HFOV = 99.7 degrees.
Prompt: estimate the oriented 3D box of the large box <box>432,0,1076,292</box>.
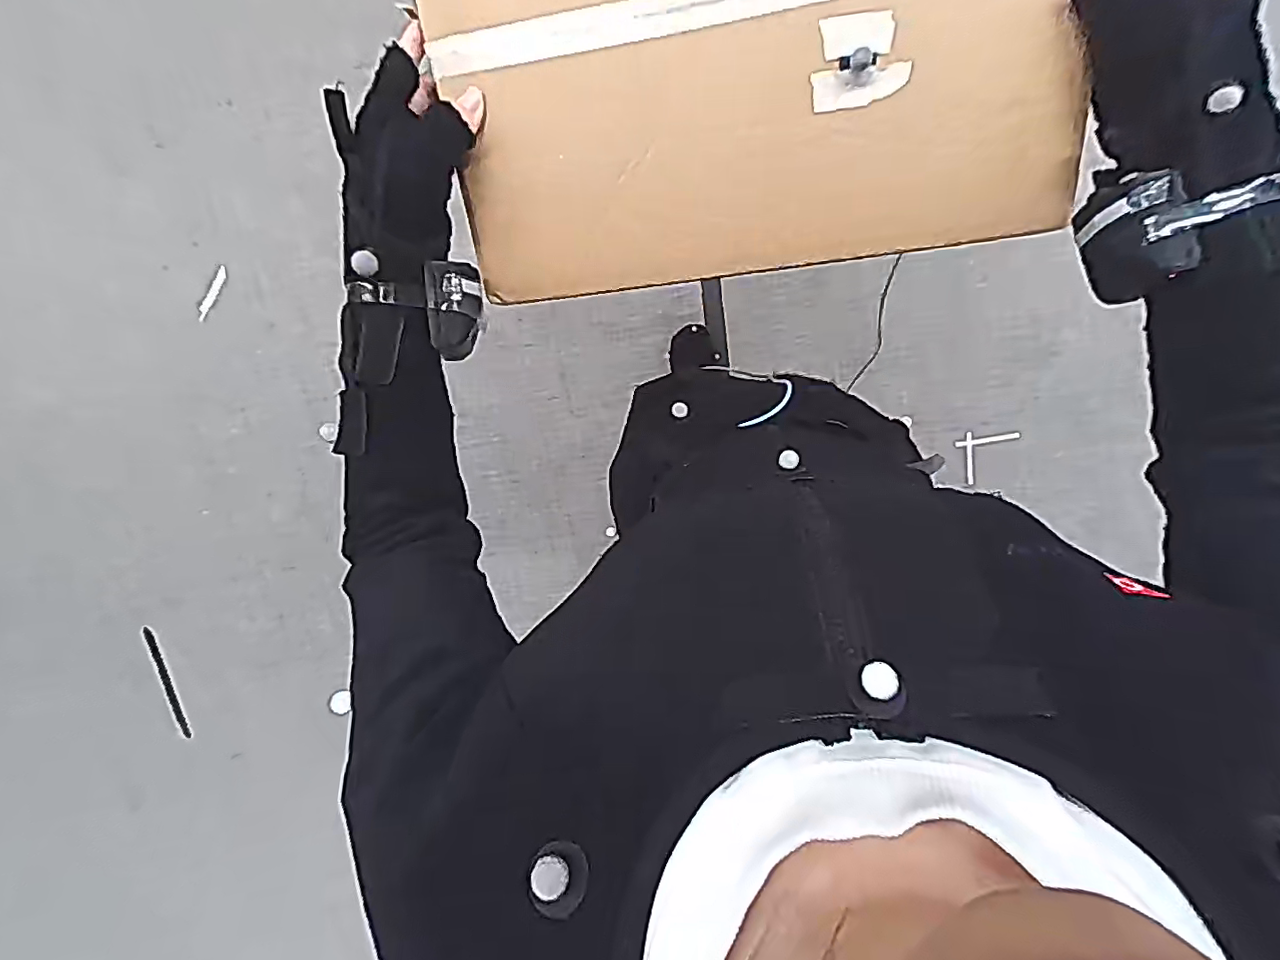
[{"bbox_3d":[0.075,-0.365,0.475,0.408,0.320,0.320,-5,114,8],"label":"large box"}]
